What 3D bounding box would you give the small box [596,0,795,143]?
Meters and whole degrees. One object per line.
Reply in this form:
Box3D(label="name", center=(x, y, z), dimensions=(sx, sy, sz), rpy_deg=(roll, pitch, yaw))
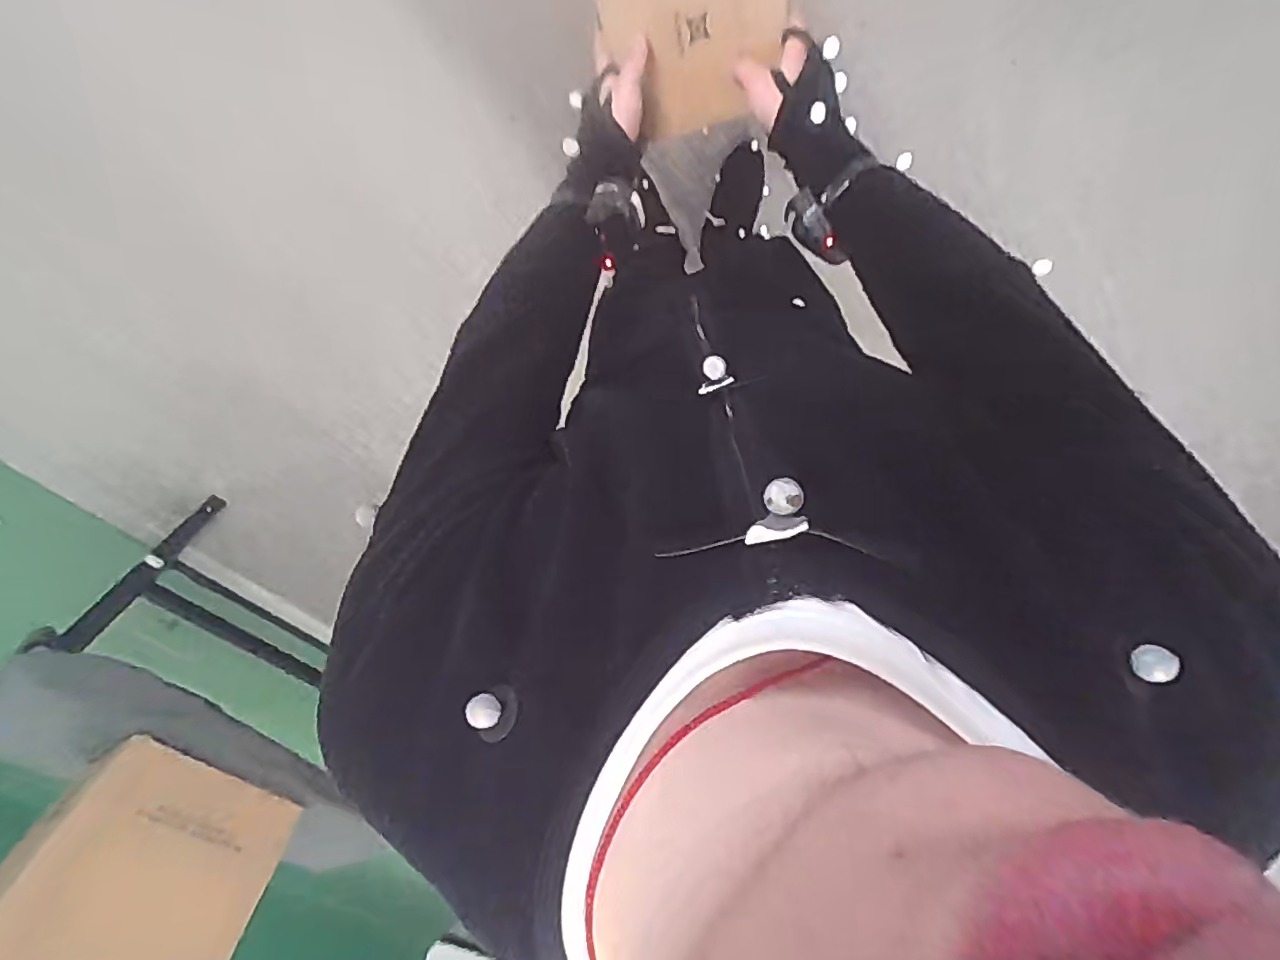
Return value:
Box3D(label="small box", center=(0.057, -0.491, 0.570), dimensions=(0.179, 0.176, 0.168), rpy_deg=(-11, 135, 12))
